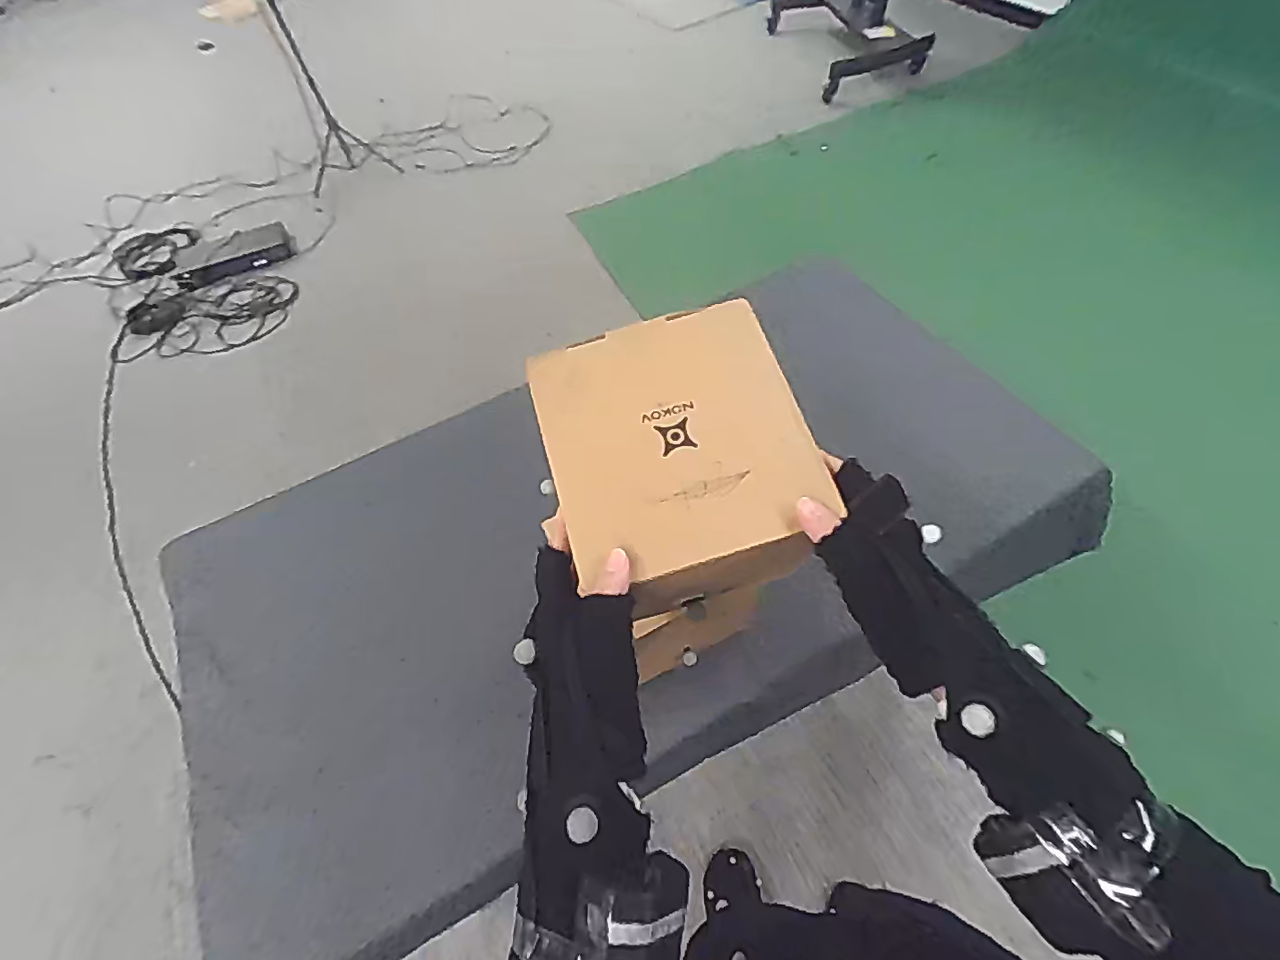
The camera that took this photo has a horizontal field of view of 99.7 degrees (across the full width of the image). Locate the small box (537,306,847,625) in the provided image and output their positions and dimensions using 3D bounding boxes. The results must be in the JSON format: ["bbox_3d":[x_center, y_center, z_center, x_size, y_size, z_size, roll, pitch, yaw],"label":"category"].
[{"bbox_3d":[0.030,0.001,0.428,0.168,0.176,0.179,-16,69,-3],"label":"small box"}]

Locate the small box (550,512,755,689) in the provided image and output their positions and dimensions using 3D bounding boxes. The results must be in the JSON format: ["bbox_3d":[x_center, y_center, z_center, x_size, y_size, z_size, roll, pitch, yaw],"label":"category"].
[{"bbox_3d":[0.014,0.119,0.640,0.179,0.176,0.168,-25,58,-12],"label":"small box"}]
